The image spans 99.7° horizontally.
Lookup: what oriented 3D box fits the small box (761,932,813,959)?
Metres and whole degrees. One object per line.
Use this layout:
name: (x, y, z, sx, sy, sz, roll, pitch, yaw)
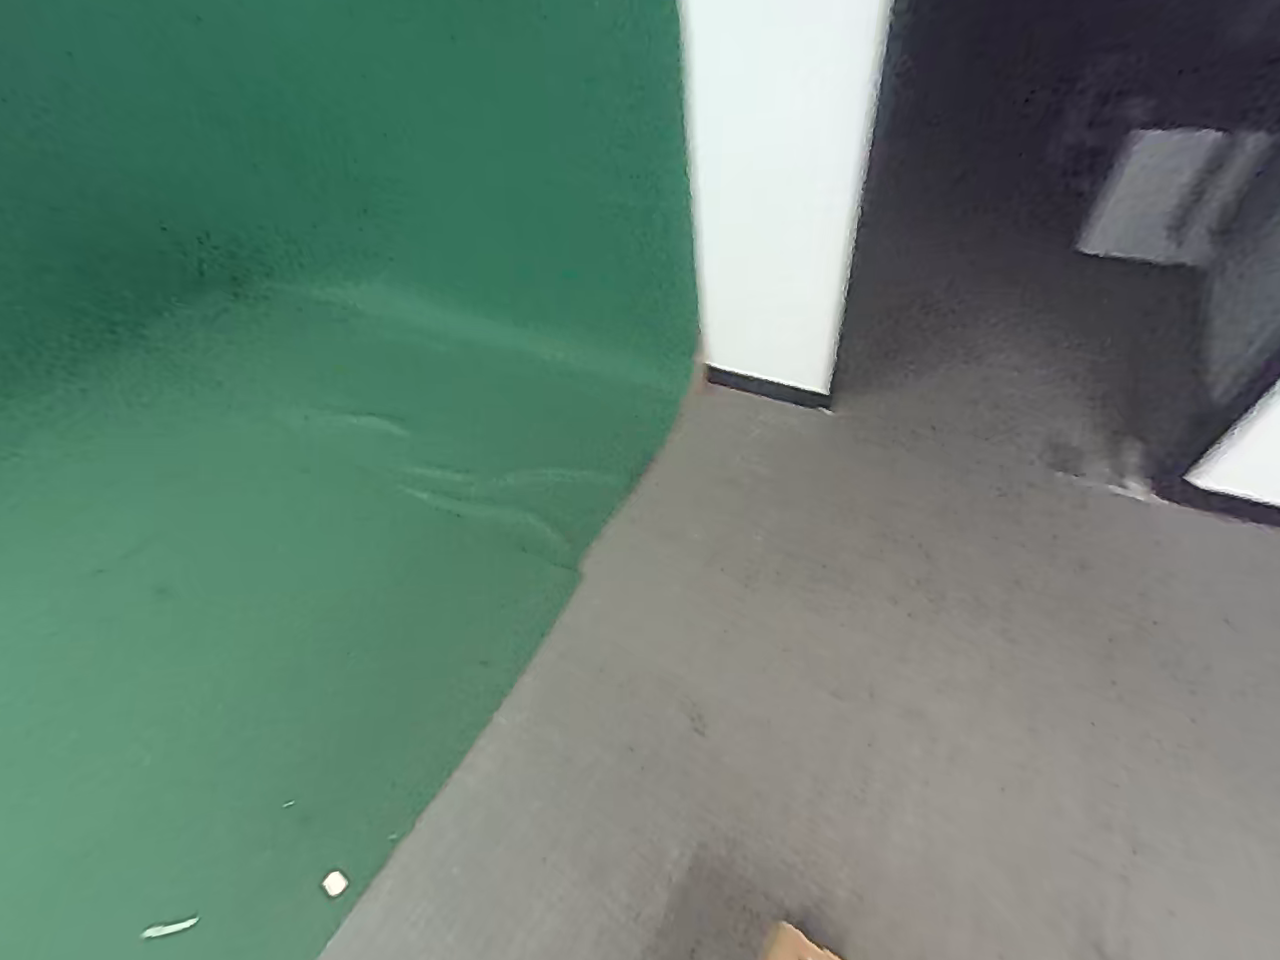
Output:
small box: (0.267, 0.920, 0.920, 0.168, 0.176, 0.179, 22, 58, 26)
